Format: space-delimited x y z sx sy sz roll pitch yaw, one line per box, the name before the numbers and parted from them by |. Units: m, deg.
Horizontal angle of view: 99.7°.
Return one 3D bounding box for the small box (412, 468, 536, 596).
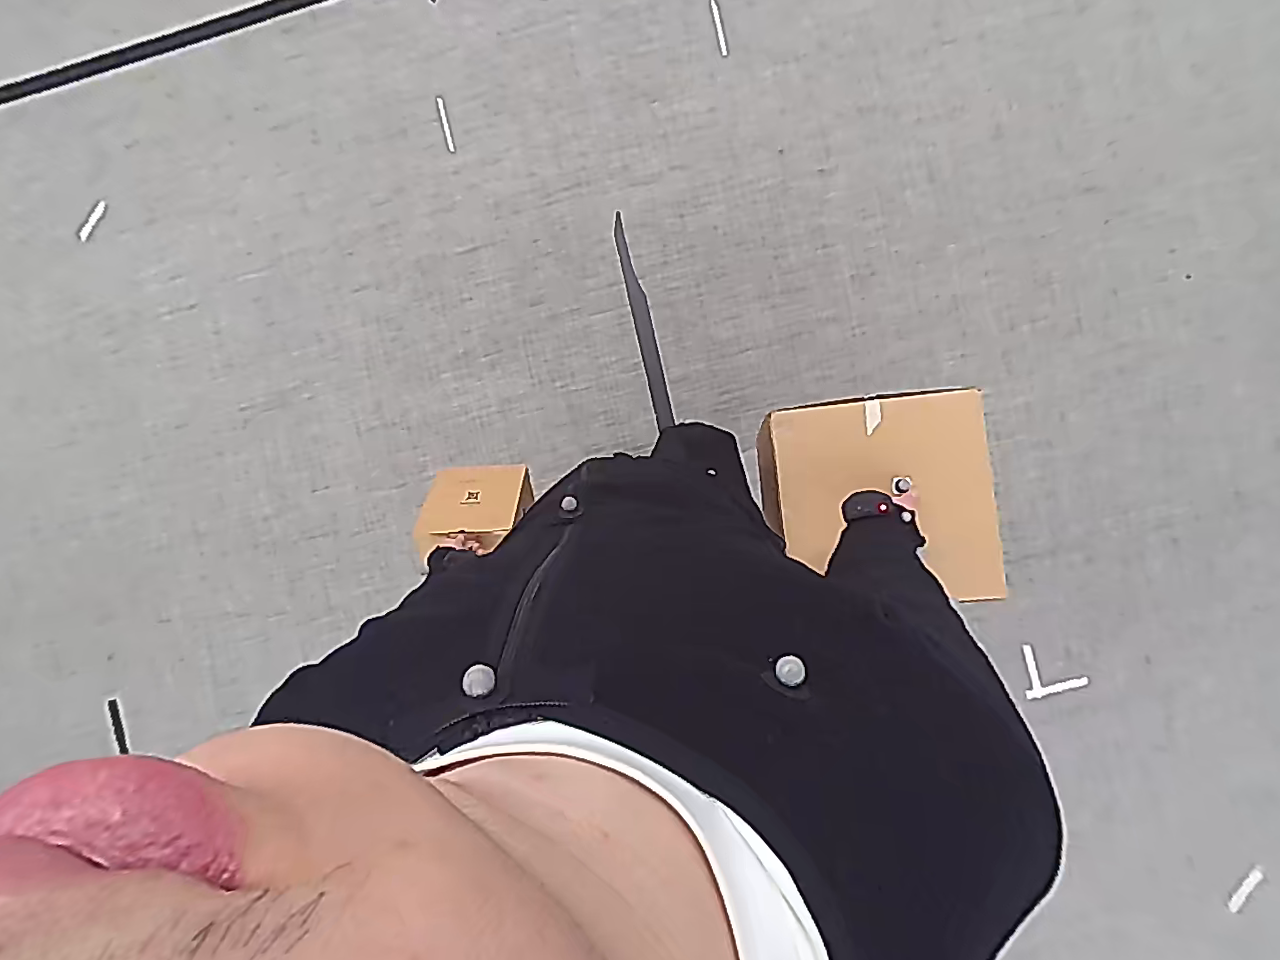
small box | -0.290 0.099 0.991 0.168 0.179 0.176 -2 130 0
